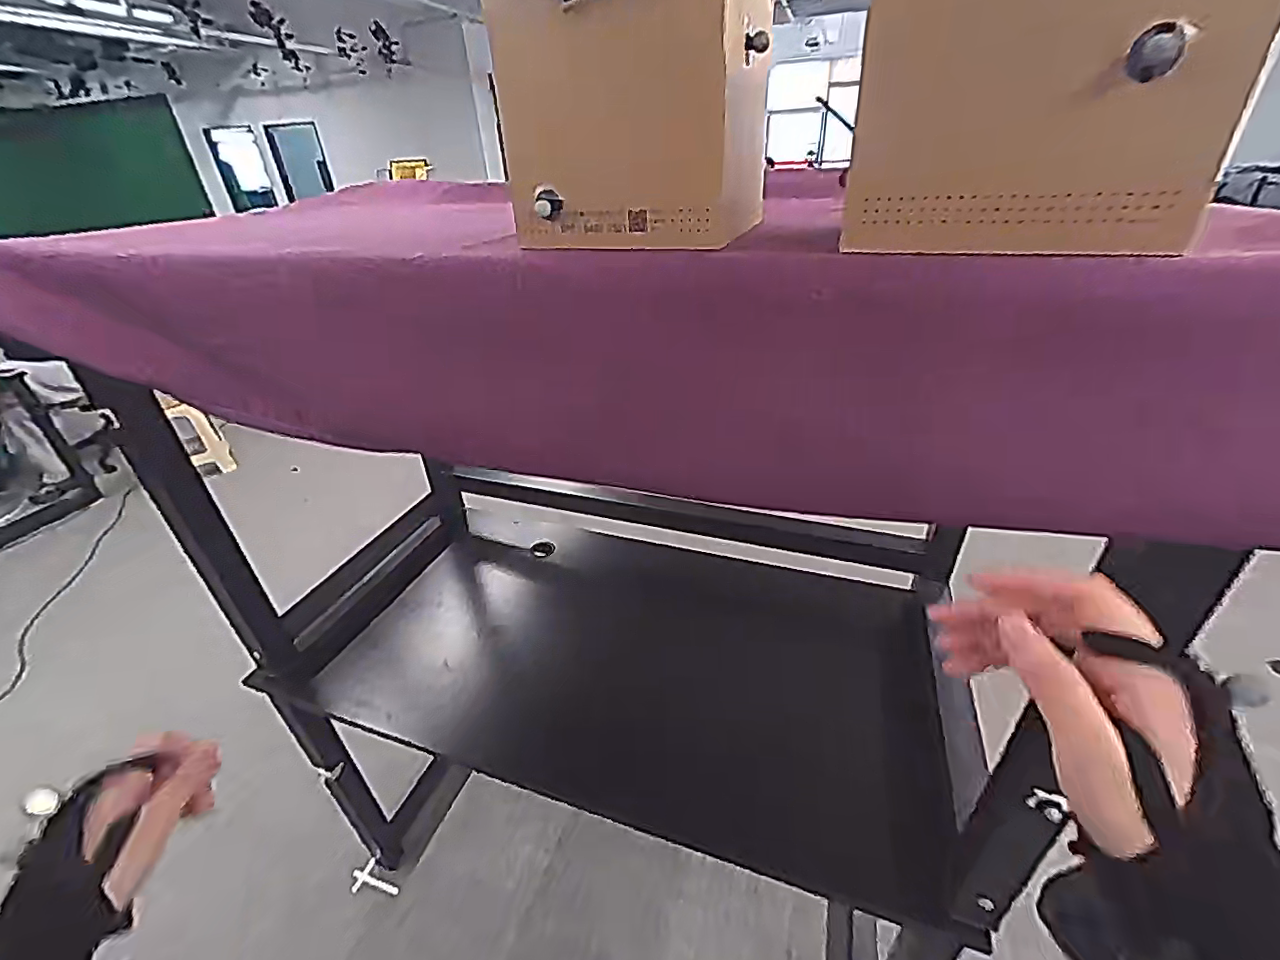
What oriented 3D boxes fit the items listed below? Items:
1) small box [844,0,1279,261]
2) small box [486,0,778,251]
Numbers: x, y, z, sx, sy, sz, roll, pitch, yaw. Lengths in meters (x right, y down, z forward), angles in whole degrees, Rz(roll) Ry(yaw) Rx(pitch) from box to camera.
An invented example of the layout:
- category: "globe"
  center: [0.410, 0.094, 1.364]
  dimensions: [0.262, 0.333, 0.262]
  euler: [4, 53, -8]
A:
- category: "small box"
  center: [0.237, -0.234, 0.329]
  dimensions: [0.179, 0.176, 0.168]
  euler: [11, 32, 22]
- category: "small box"
  center: [0.009, -0.280, 0.425]
  dimensions: [0.168, 0.176, 0.179]
  euler: [9, 32, 18]
